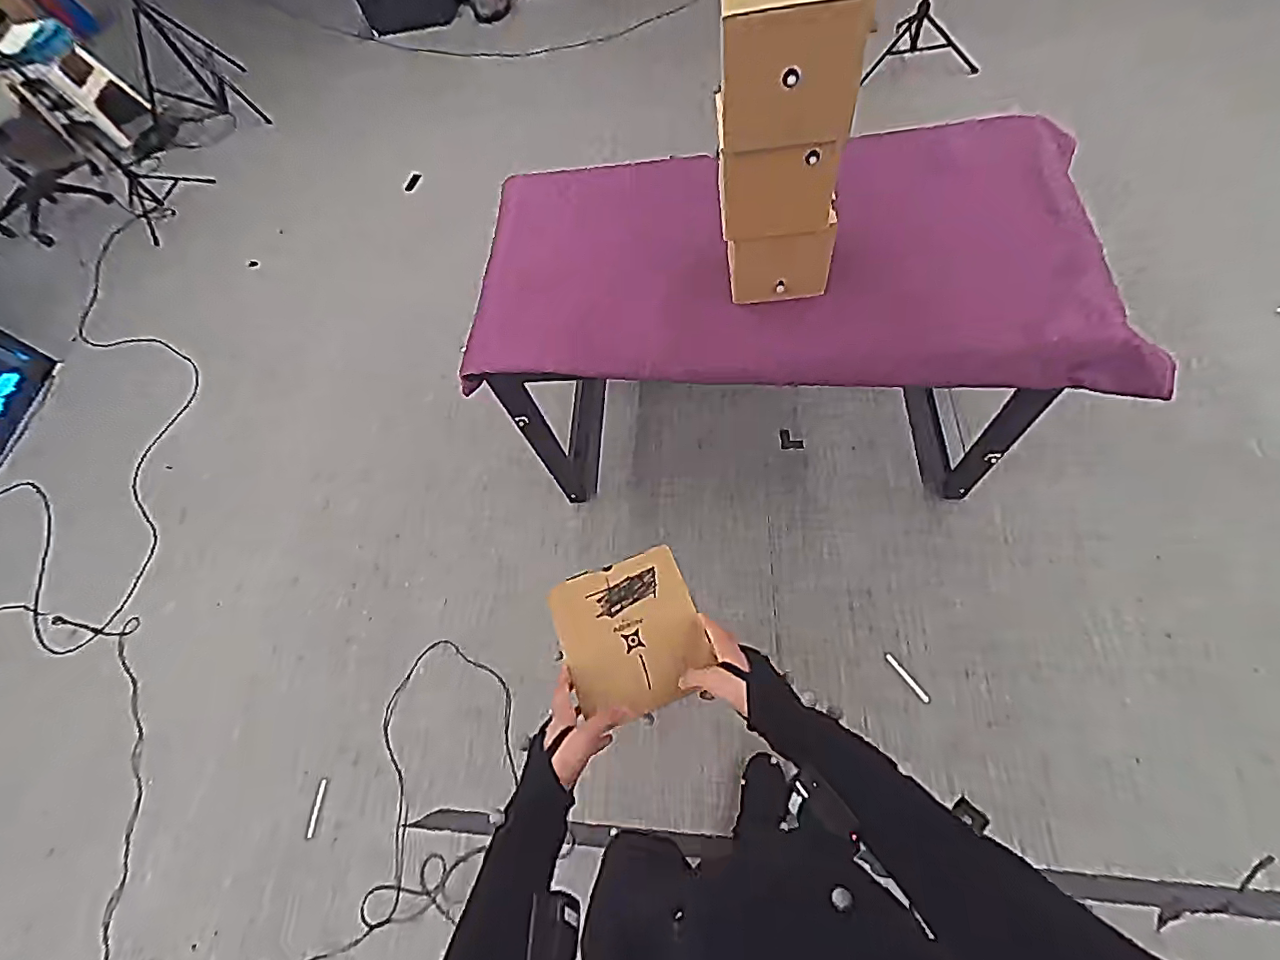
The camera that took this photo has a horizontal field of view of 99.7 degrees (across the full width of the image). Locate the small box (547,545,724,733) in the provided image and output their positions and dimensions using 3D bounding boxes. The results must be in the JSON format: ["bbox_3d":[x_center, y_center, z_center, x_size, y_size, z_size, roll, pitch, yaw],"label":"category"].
[{"bbox_3d":[-0.015,0.210,0.703,0.168,0.176,0.179,-18,70,-12],"label":"small box"}]

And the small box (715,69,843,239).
[{"bbox_3d":[0.216,-0.517,0.876,0.179,0.176,0.168,-3,64,8],"label":"small box"}]

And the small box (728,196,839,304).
[{"bbox_3d":[0.260,-0.456,1.022,0.179,0.176,0.168,-3,63,8],"label":"small box"}]
